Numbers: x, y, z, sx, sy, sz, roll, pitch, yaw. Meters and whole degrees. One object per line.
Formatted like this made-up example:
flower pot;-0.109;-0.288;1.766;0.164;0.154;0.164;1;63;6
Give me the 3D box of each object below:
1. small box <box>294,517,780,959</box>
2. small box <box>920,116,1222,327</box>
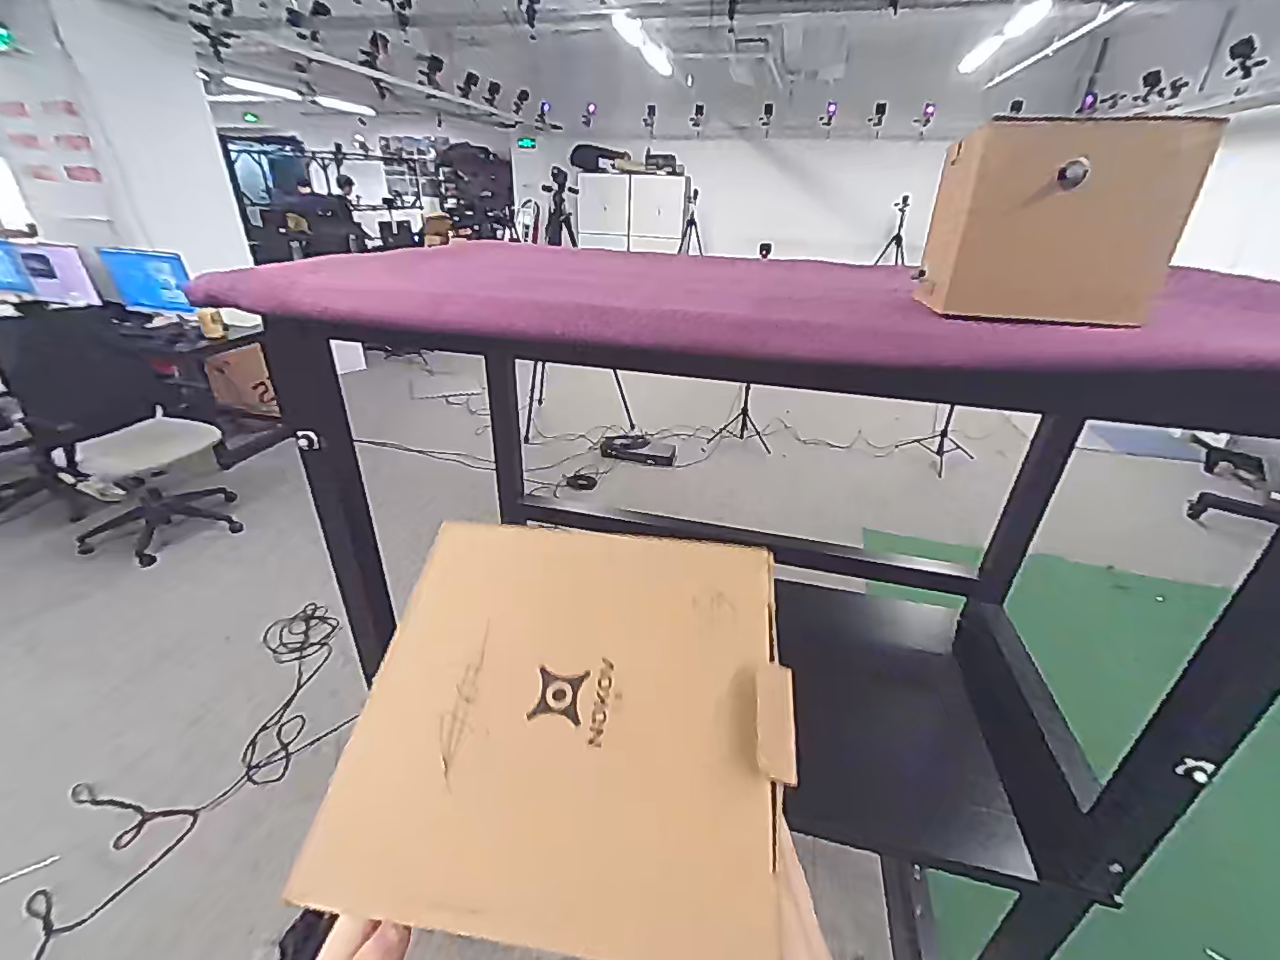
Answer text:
small box;-0.026;0.139;0.295;0.179;0.176;0.168;3;51;8
small box;0.404;-0.256;0.554;0.179;0.176;0.168;9;26;13
